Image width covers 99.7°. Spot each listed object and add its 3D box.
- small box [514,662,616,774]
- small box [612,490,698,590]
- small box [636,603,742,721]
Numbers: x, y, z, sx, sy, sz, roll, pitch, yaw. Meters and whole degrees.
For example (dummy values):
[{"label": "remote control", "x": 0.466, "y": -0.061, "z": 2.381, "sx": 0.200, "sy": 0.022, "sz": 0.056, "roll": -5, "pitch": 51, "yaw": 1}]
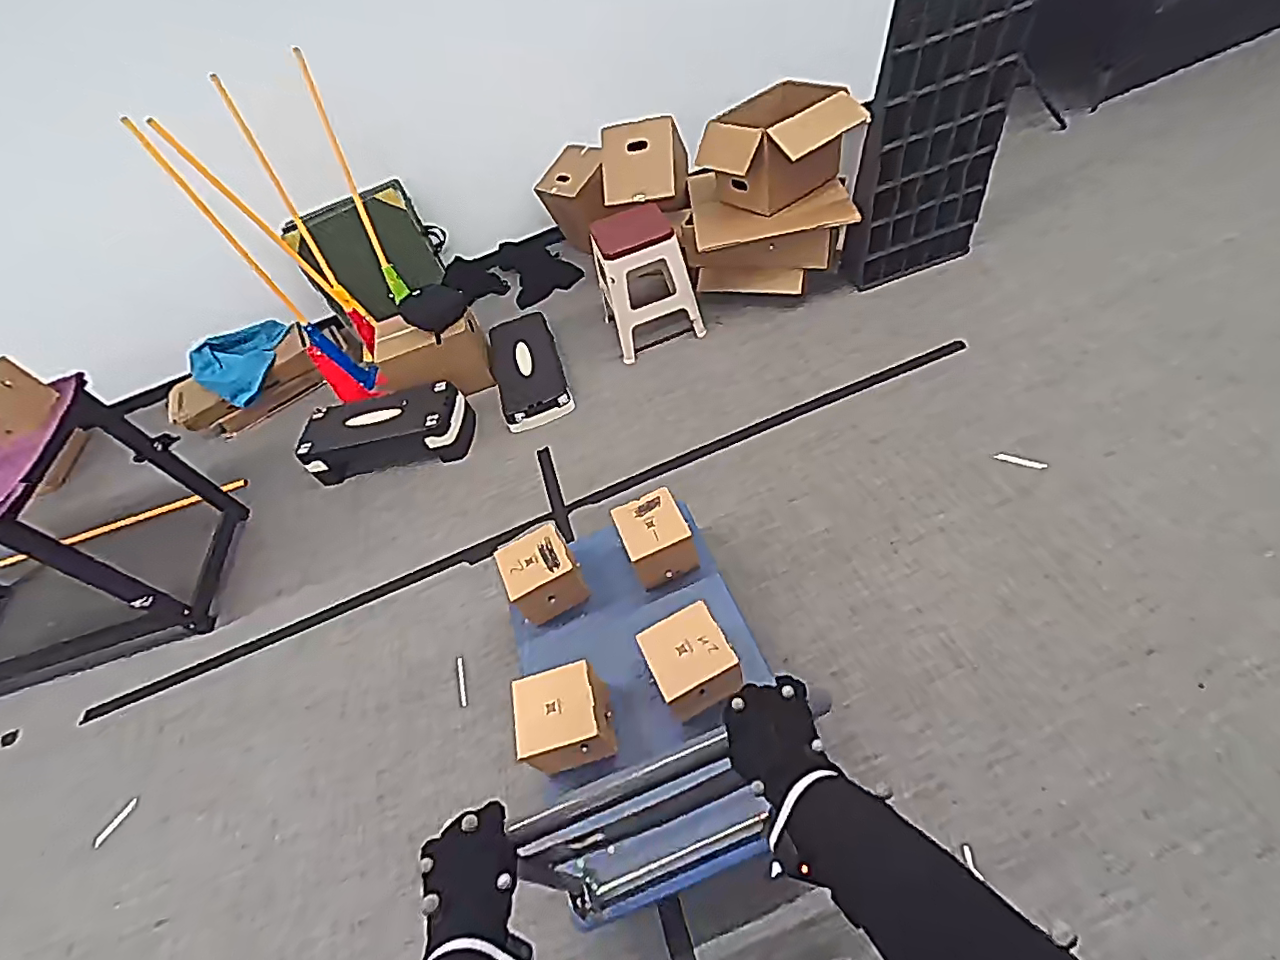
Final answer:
[{"label": "small box", "x": -0.167, "y": 0.539, "z": 1.216, "sx": 0.179, "sy": 0.176, "sz": 0.168, "roll": -17, "pitch": 50, "yaw": 0}, {"label": "small box", "x": 0.042, "y": 0.164, "z": 1.451, "sx": 0.168, "sy": 0.176, "sz": 0.179, "roll": -24, "pitch": 51, "yaw": -3}, {"label": "small box", "x": 0.115, "y": 0.419, "z": 1.230, "sx": 0.179, "sy": 0.176, "sz": 0.168, "roll": -27, "pitch": 51, "yaw": -6}]
